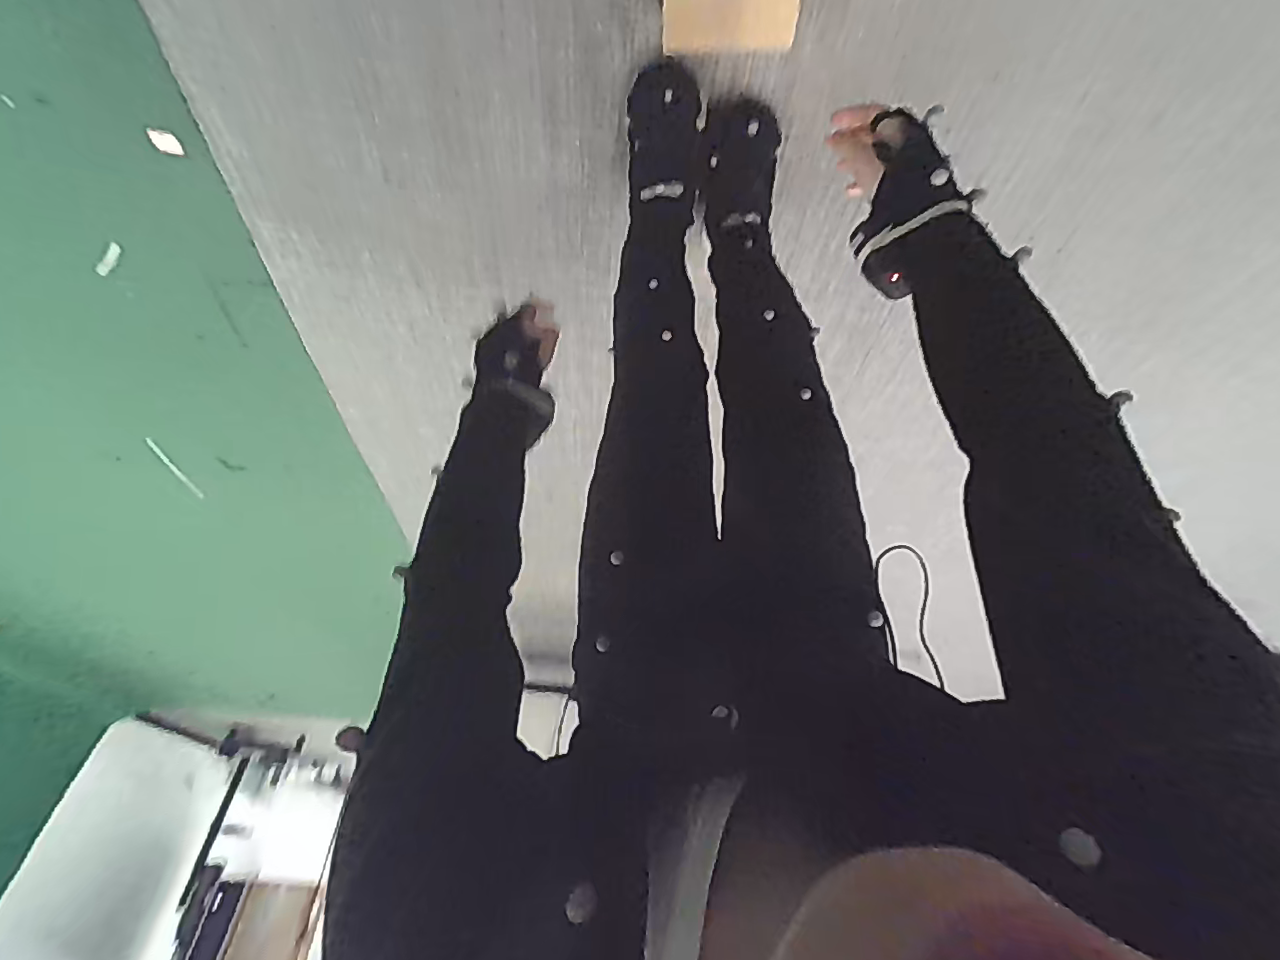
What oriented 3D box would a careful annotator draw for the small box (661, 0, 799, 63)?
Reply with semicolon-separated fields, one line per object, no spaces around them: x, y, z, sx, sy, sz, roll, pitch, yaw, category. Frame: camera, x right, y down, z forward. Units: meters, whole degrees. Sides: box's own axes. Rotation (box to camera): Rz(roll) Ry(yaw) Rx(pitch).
0.113;-0.651;0.670;0.168;0.176;0.179;1;142;3;small box
